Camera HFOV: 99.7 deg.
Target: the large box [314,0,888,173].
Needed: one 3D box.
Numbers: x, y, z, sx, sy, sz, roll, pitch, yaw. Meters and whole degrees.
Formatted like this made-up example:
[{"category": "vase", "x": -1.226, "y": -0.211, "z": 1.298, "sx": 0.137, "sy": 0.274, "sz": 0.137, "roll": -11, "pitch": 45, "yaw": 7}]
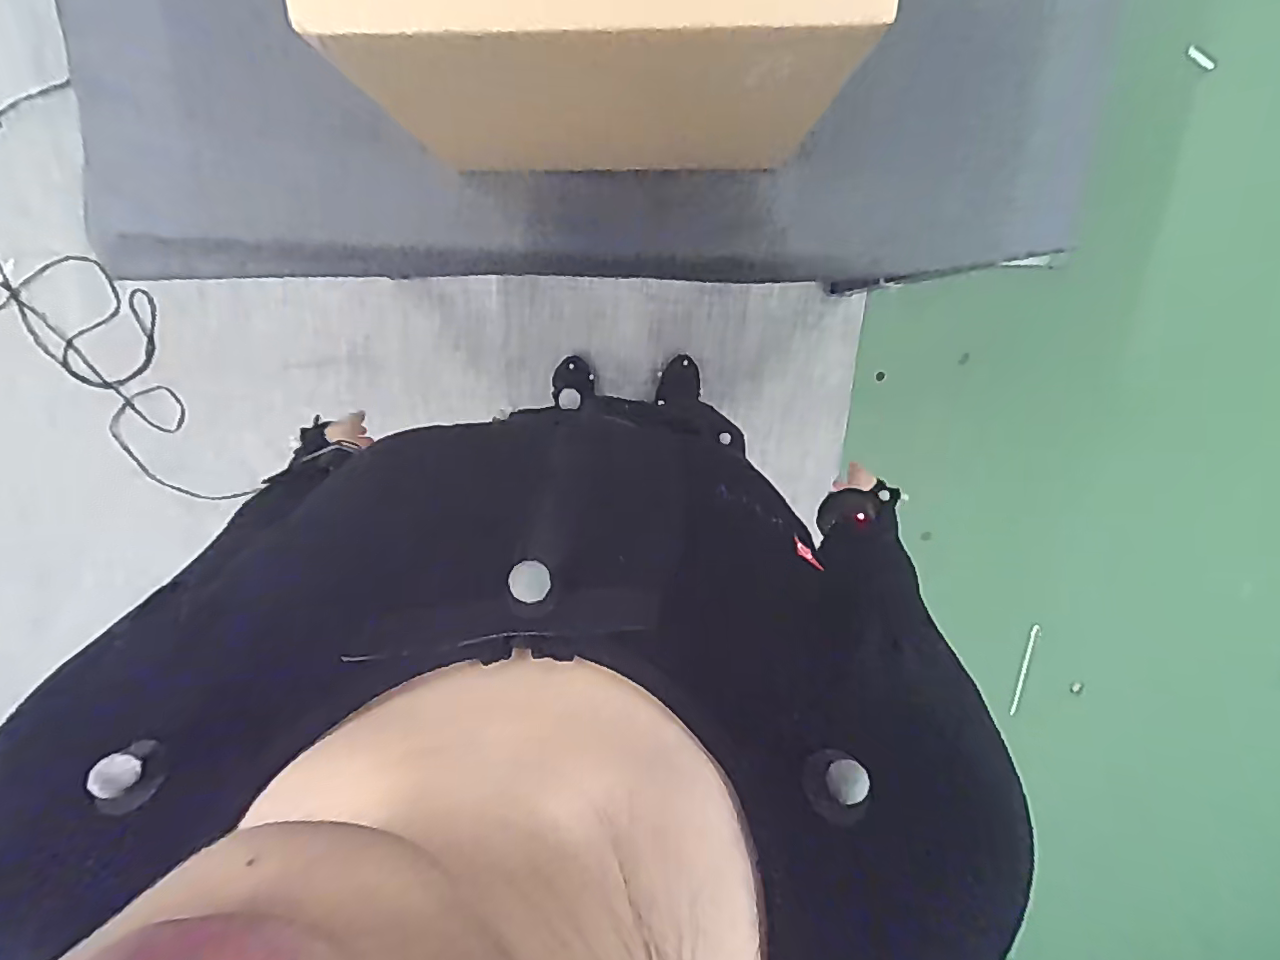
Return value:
[{"category": "large box", "x": -0.032, "y": -0.494, "z": 0.483, "sx": 0.408, "sy": 0.320, "sz": 0.320, "roll": -1, "pitch": 105, "yaw": 0}]
